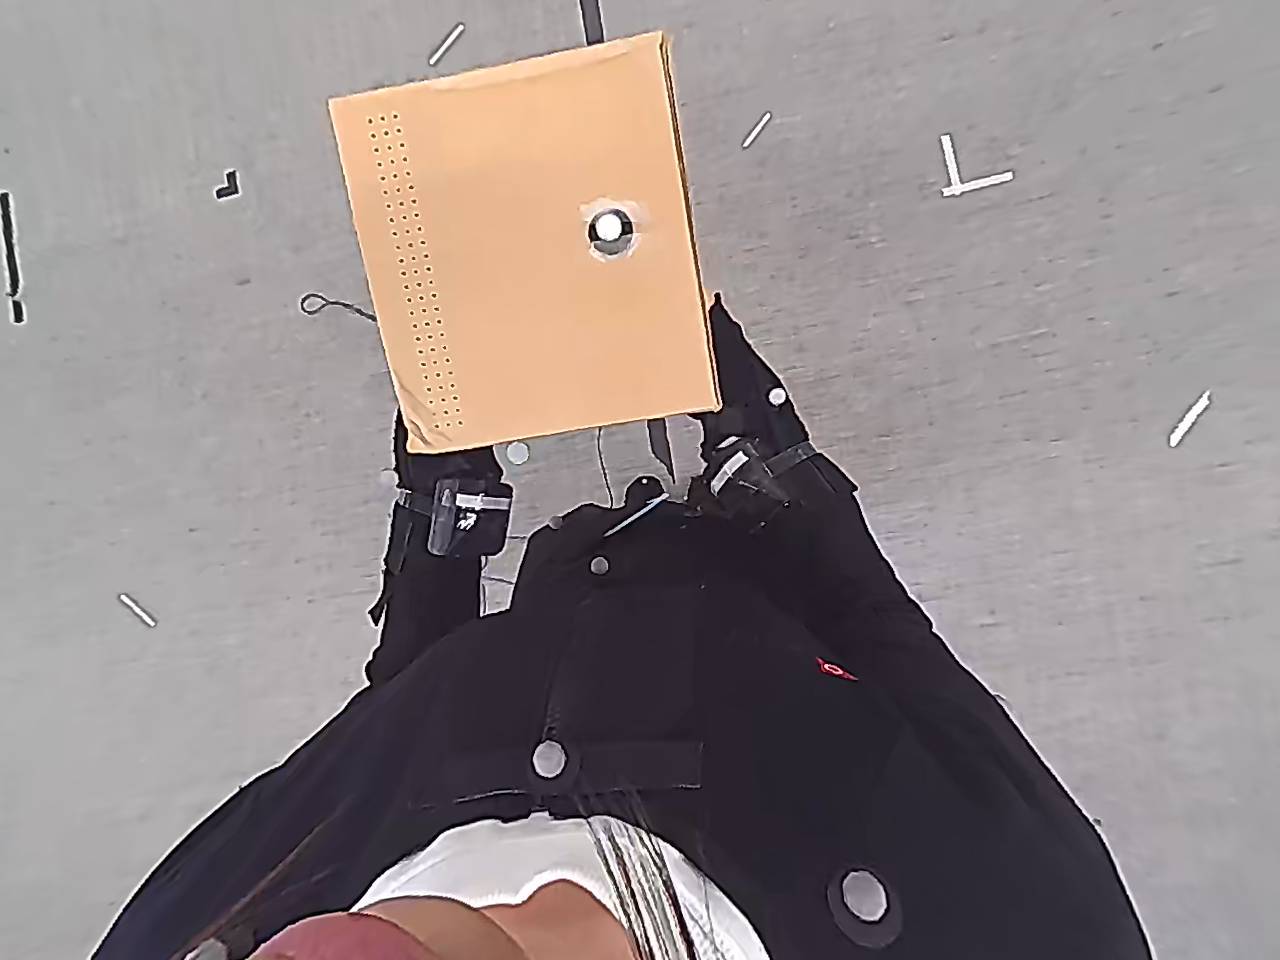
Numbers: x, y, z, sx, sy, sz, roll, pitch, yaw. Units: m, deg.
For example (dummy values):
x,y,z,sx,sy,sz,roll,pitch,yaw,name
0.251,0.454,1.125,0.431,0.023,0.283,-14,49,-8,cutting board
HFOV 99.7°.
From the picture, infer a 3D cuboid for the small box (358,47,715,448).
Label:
x,y,z,sx,sy,sz,roll,pitch,yaw,name
-0.054,-0.126,0.356,0.176,0.168,0.179,-9,98,5,small box
